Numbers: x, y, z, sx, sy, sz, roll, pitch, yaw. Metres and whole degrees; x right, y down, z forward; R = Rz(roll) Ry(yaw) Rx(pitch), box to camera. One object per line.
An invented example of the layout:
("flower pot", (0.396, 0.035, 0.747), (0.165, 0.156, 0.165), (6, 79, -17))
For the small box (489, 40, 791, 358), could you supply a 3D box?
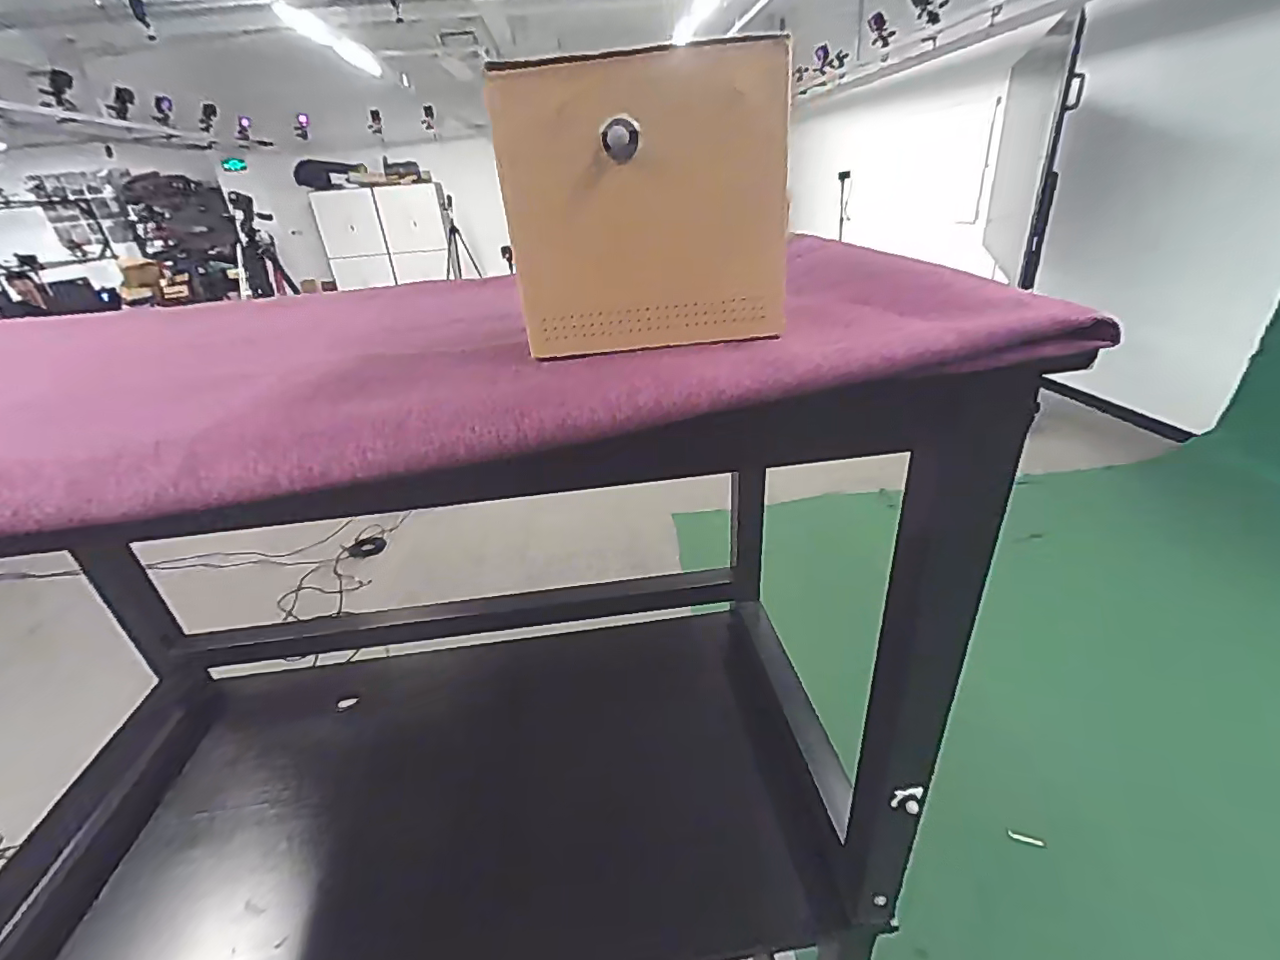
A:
("small box", (0.008, -0.194, 0.407), (0.179, 0.176, 0.168), (-4, 27, 2))
